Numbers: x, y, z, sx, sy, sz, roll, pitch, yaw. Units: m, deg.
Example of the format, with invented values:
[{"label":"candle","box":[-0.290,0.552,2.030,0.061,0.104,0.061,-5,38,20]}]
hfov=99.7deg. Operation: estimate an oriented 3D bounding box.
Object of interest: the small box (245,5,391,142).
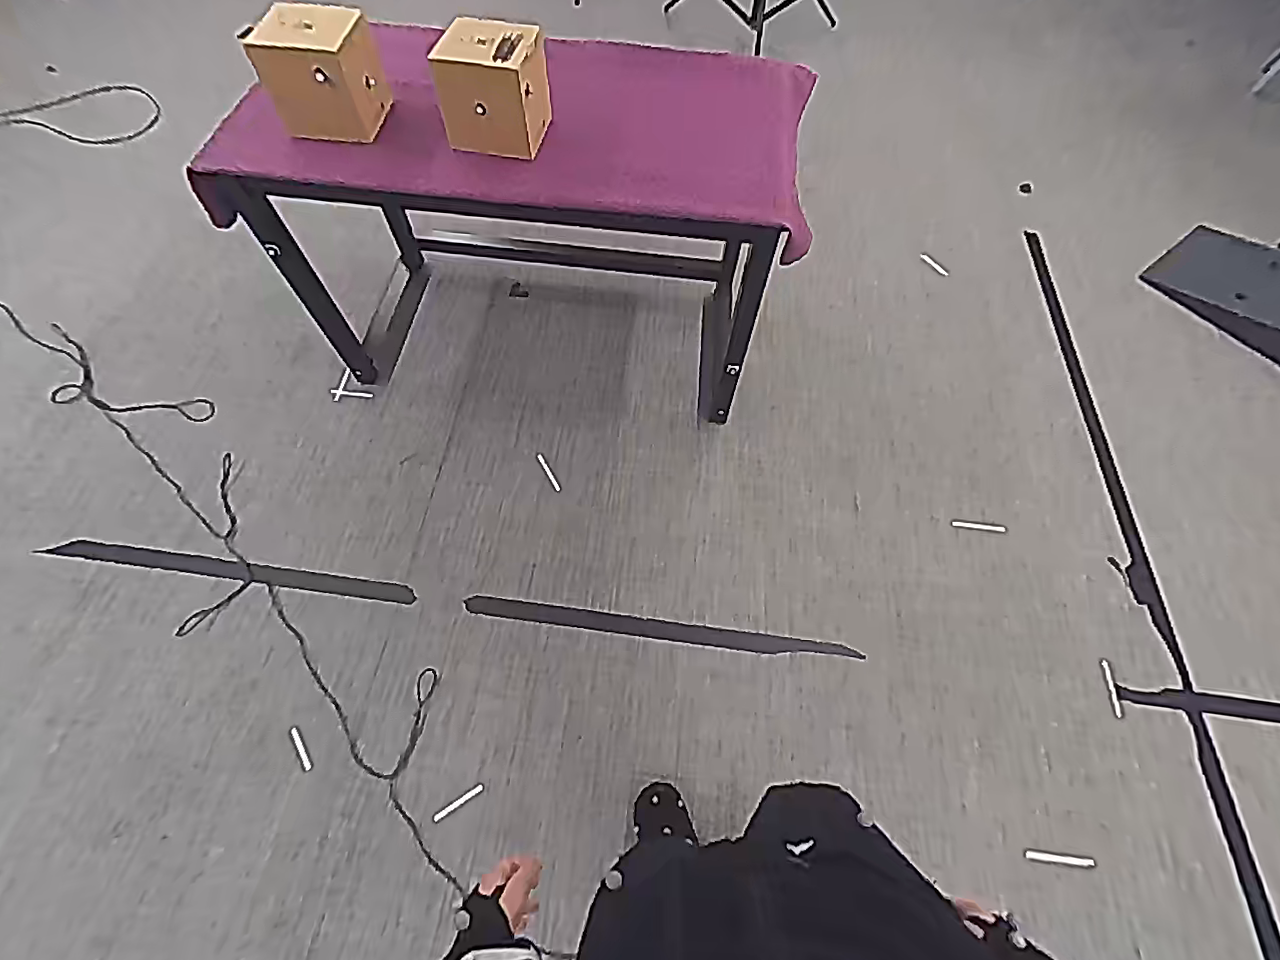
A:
[{"label":"small box","box":[-0.633,-0.814,1.093,0.179,0.176,0.168,4,61,0]}]
